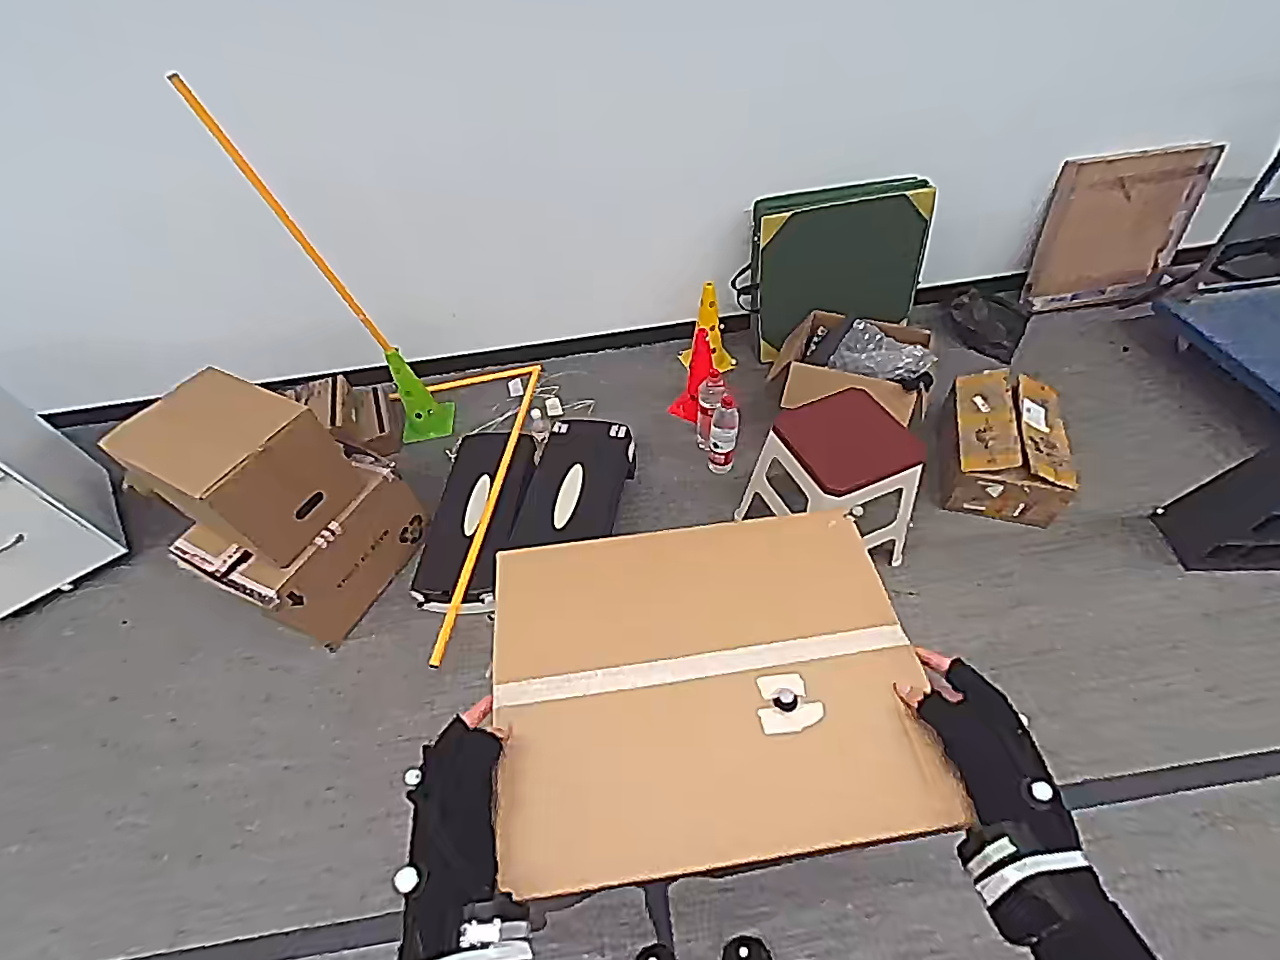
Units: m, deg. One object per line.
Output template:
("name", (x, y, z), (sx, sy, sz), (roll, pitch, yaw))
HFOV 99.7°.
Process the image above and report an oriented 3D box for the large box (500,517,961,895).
("large box", (0.063, 0.278, 0.655), (0.408, 0.320, 0.320), (-7, 53, -4))
